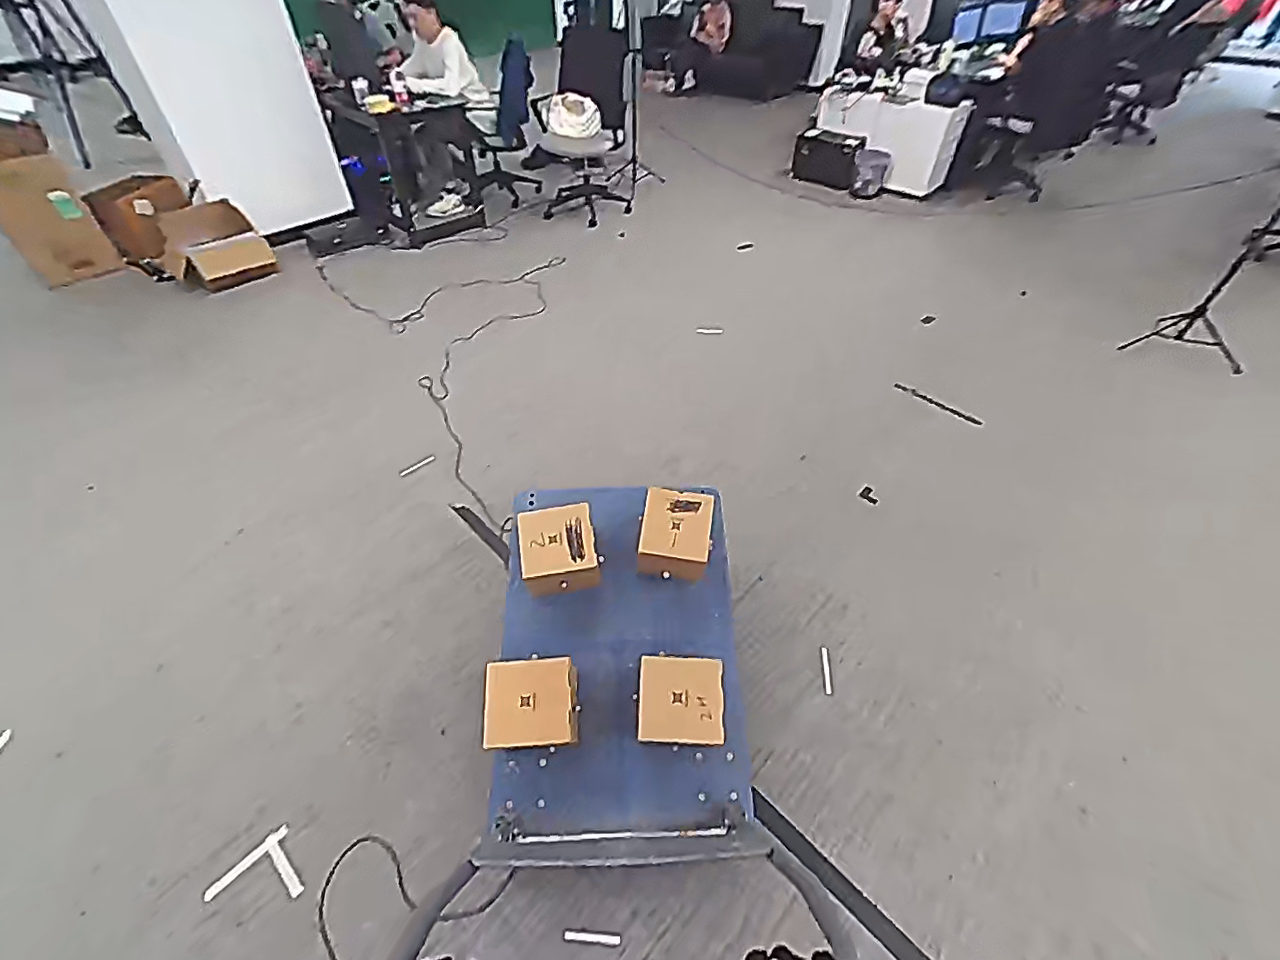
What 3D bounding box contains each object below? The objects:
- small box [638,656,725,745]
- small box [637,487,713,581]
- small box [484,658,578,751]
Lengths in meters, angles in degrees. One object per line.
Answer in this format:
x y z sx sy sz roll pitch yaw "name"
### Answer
0.086 0.488 1.189 0.179 0.176 0.168 2 63 0 "small box"
0.085 0.139 1.367 0.168 0.176 0.179 8 64 3 "small box"
-0.231 0.493 1.179 0.179 0.176 0.168 -3 63 -5 "small box"
